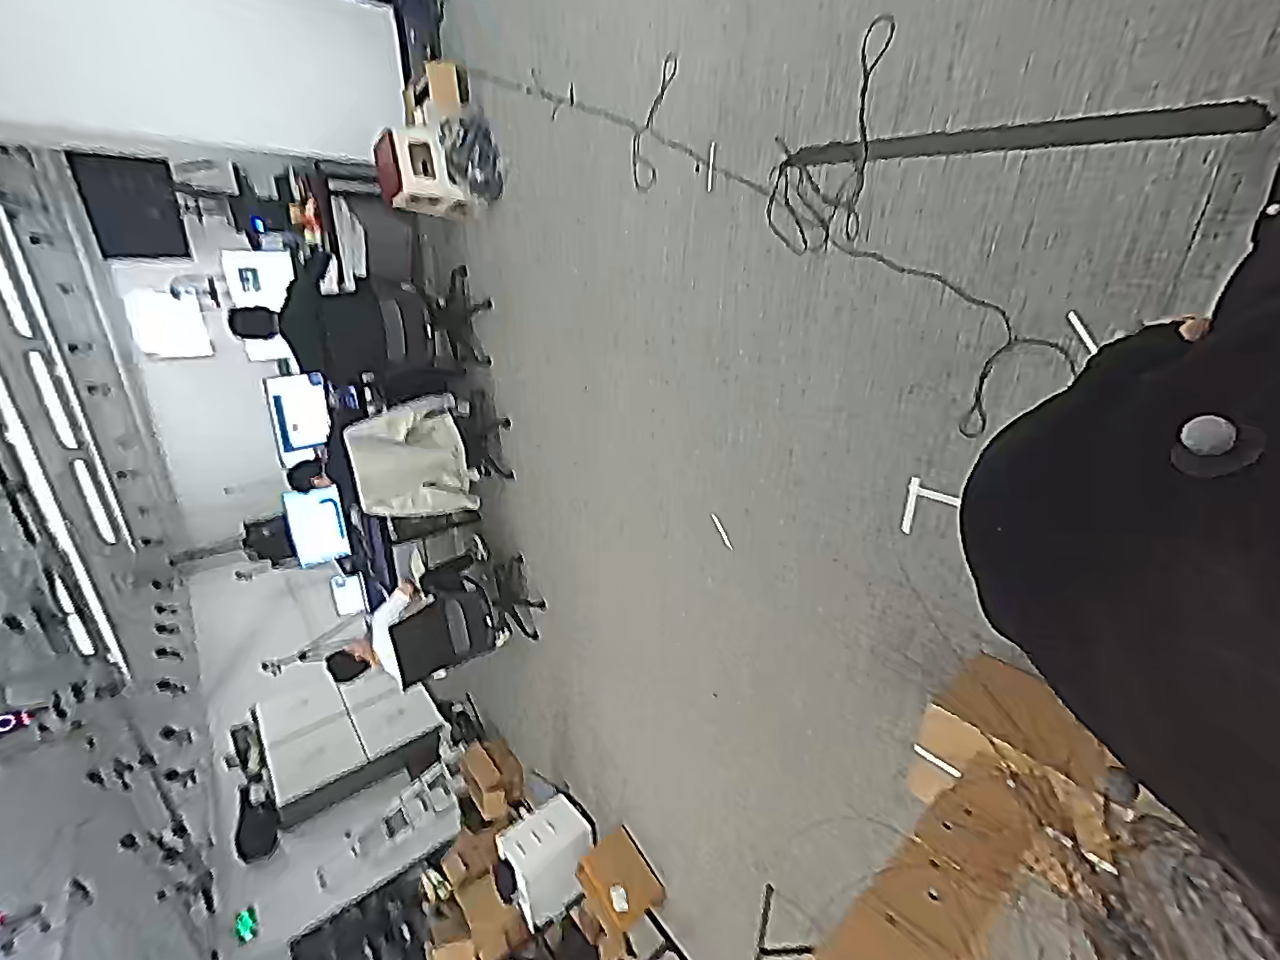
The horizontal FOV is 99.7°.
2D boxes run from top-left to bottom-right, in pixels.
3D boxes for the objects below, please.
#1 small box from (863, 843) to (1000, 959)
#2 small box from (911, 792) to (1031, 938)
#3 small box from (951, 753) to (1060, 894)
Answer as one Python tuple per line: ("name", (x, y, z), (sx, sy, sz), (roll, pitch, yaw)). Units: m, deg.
("small box", (0.536, 0.826, 0.995), (0.168, 0.176, 0.179), (17, 116, 50))
("small box", (0.660, 0.783, 1.094), (0.168, 0.176, 0.179), (22, 121, 48))
("small box", (0.788, 0.752, 1.188), (0.168, 0.176, 0.179), (23, 120, 46))
